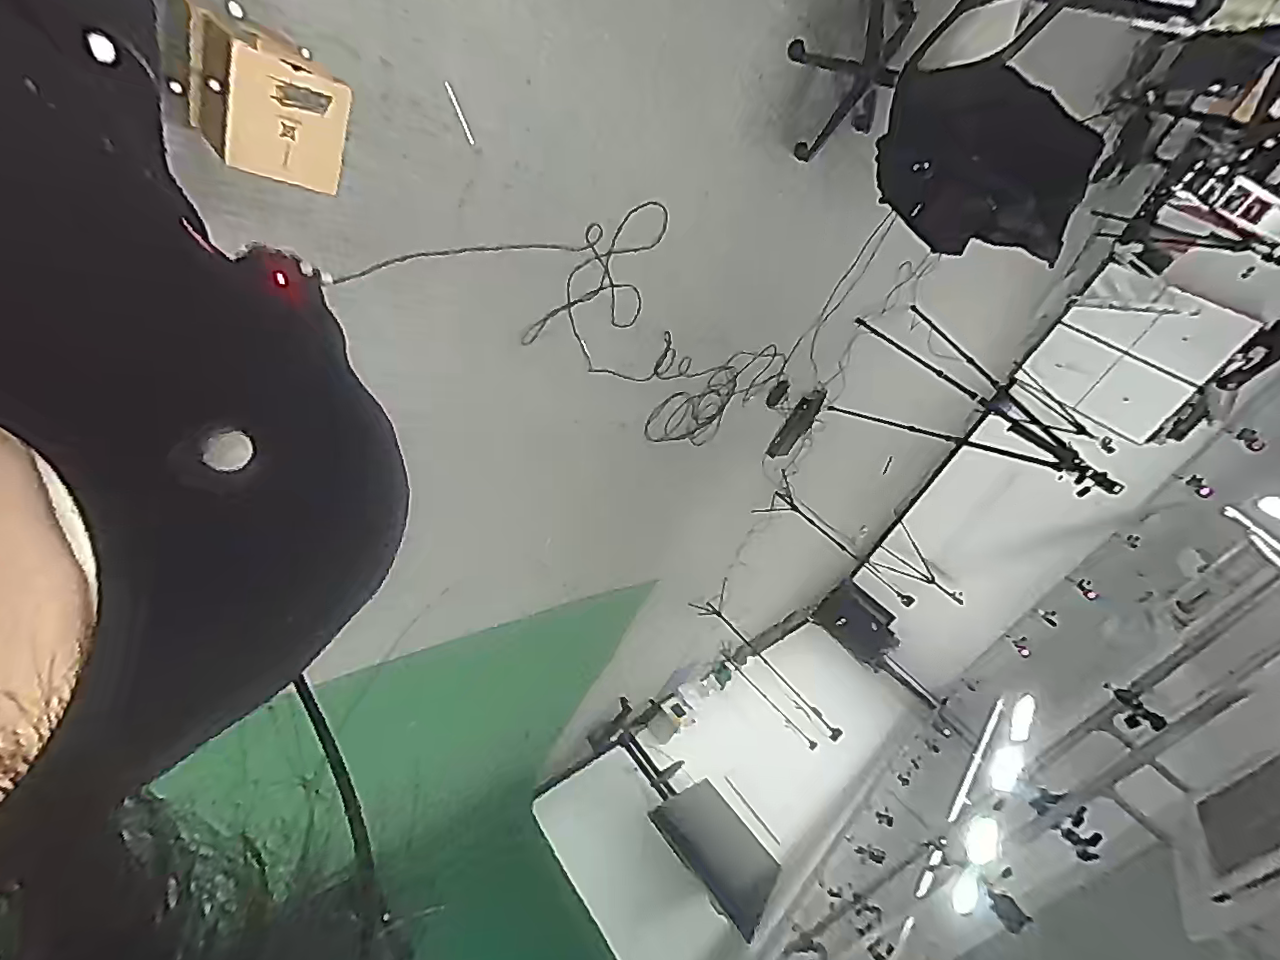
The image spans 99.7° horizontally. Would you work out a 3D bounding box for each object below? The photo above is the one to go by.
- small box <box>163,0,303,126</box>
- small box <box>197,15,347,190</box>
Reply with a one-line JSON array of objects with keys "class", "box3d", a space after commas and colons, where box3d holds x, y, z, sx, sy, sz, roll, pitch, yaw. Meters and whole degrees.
[{"class": "small box", "box3d": [-0.730, -0.732, 0.969, 0.168, 0.176, 0.179, -9, 135, -47]}, {"class": "small box", "box3d": [-0.620, -0.627, 0.904, 0.168, 0.176, 0.179, -7, 134, -48]}]
